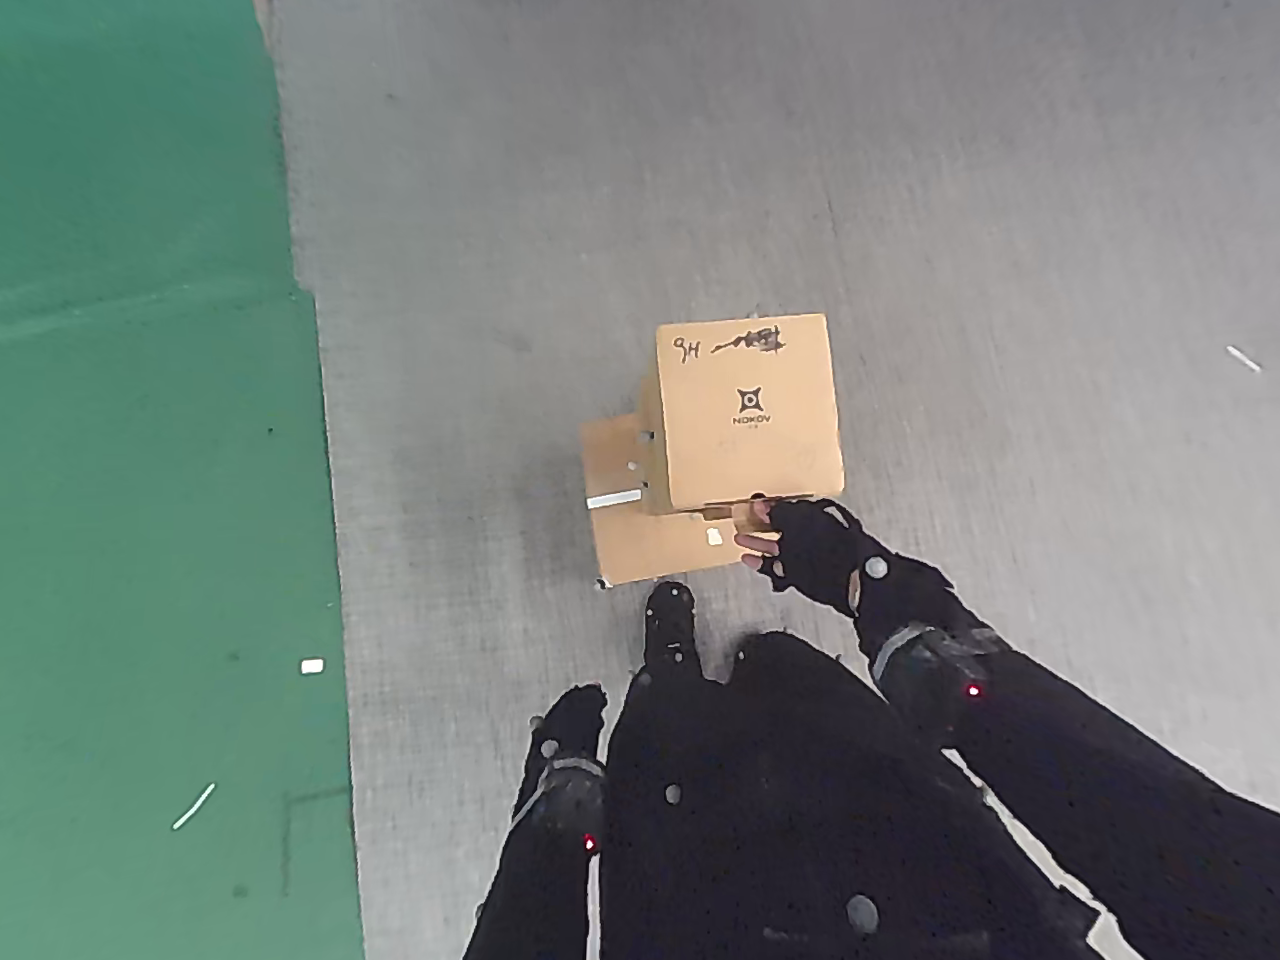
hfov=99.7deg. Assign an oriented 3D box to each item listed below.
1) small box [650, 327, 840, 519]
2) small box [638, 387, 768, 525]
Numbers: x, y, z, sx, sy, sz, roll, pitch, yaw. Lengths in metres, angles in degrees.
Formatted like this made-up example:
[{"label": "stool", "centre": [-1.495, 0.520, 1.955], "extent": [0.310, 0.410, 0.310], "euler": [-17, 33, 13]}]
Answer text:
[{"label": "small box", "centre": [0.101, -0.052, 0.594], "extent": [0.168, 0.176, 0.179], "euler": [-5, 86, -3]}, {"label": "small box", "centre": [0.089, -0.033, 0.756], "extent": [0.168, 0.176, 0.179], "euler": [-7, 85, -3]}]
